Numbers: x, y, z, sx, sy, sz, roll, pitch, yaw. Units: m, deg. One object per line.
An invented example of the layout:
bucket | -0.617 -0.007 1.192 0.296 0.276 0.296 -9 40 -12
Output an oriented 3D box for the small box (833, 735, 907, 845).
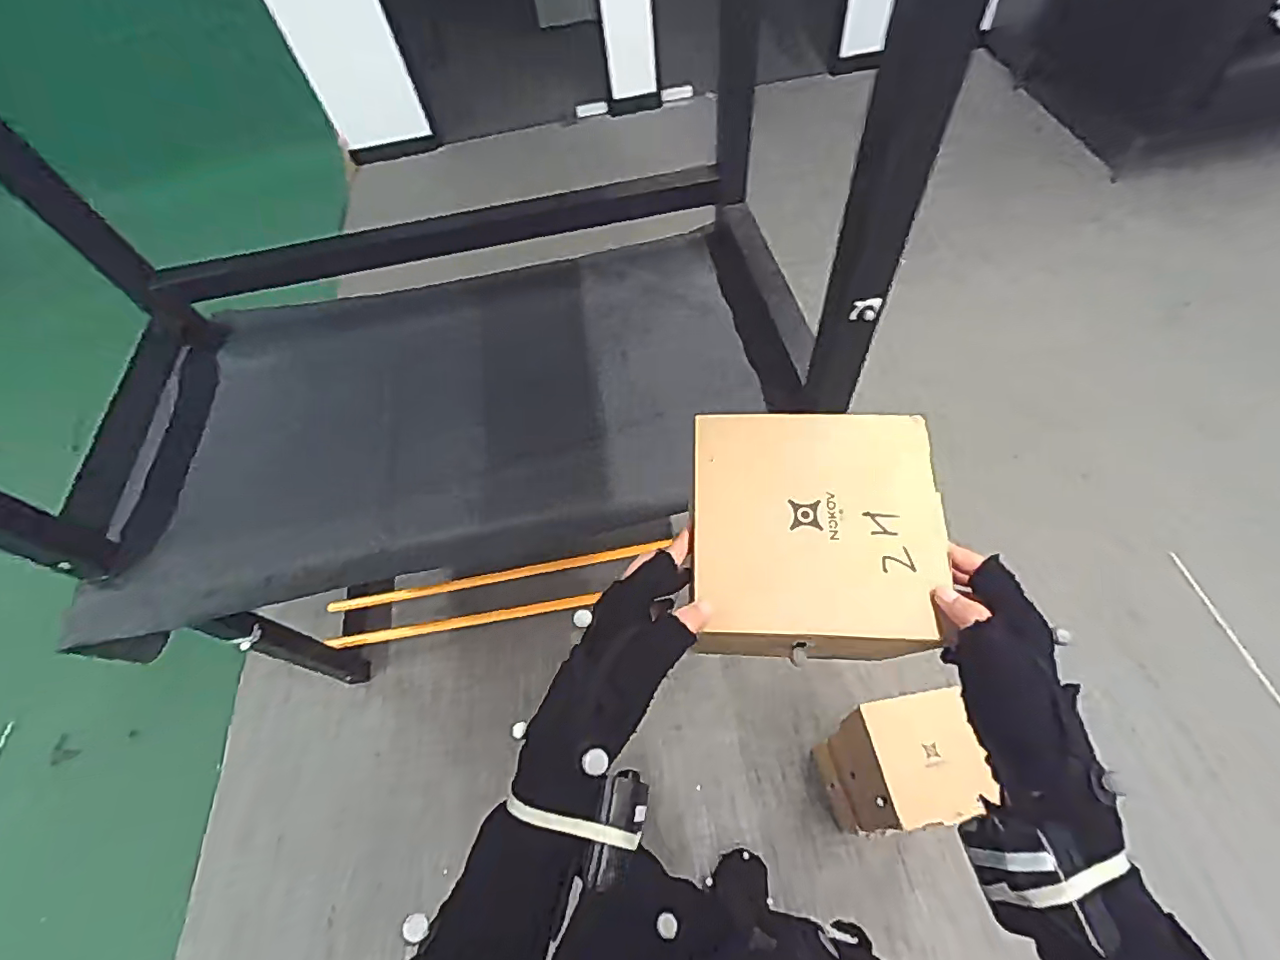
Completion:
small box | 0.480 0.559 1.007 0.168 0.176 0.179 -13 56 -1

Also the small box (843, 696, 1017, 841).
small box | 0.448 0.469 0.874 0.168 0.176 0.179 -11 57 1
